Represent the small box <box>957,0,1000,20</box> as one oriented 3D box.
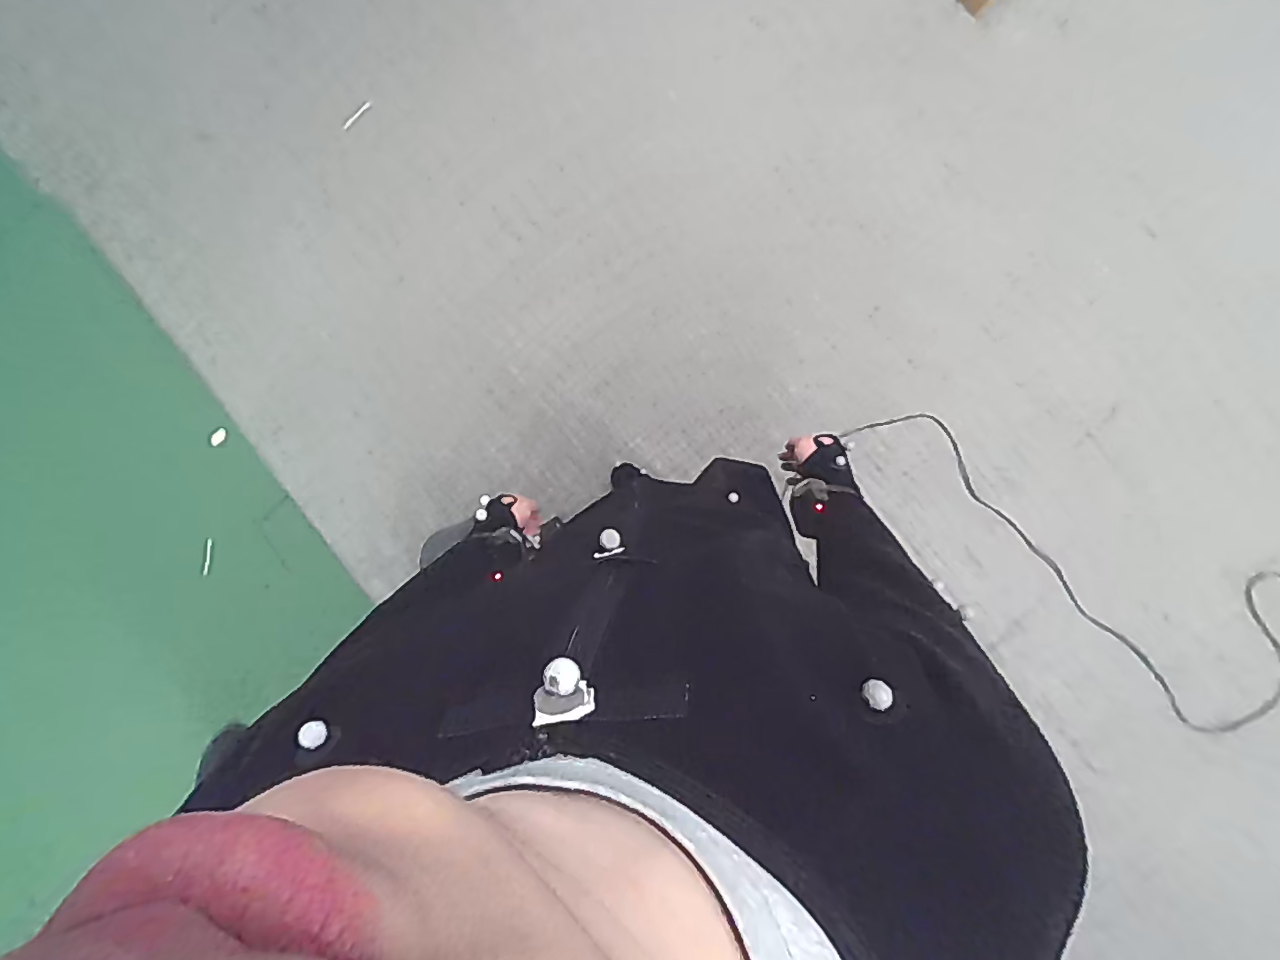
[{"bbox_3d":[0.867,-1.287,1.309,0.179,0.176,0.168,-41,89,6],"label":"small box"}]
